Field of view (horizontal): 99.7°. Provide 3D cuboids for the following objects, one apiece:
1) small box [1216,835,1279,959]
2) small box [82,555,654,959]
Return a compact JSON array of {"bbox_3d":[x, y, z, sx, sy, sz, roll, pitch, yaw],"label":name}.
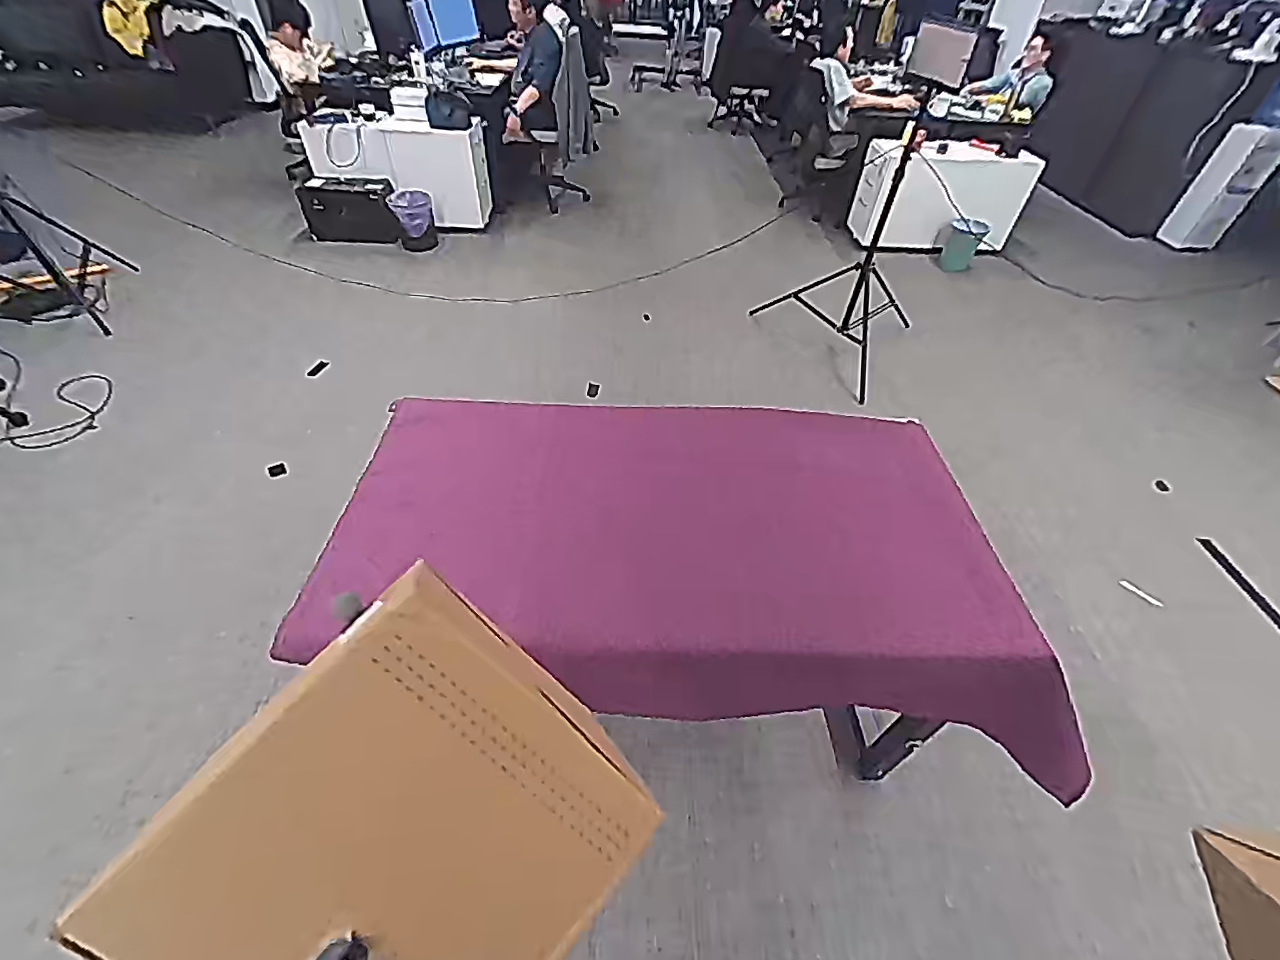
[{"bbox_3d":[0.385,0.258,0.209,0.168,0.179,0.176,-14,77,25],"label":"small box"},{"bbox_3d":[-0.121,0.167,0.310,0.179,0.168,0.176,47,72,-10],"label":"small box"}]
